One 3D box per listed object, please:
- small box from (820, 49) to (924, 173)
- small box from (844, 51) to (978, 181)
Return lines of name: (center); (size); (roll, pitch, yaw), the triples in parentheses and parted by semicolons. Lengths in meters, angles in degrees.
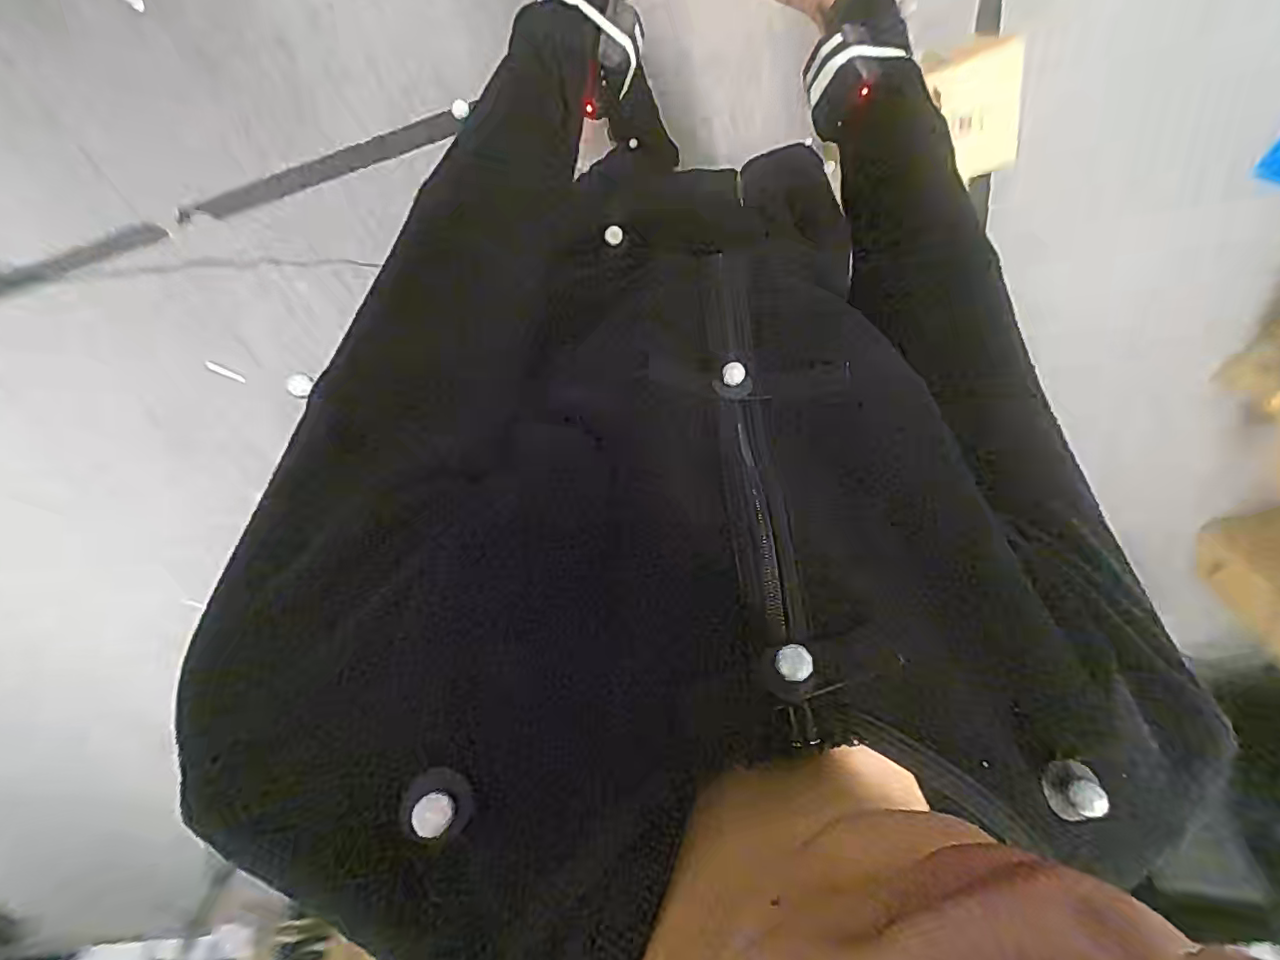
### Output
small box: (0.499, -0.802, 1.173); (0.168, 0.176, 0.179); (-14, 128, 11)
small box: (0.509, -0.704, 1.043); (0.179, 0.176, 0.168); (-9, 129, 9)
